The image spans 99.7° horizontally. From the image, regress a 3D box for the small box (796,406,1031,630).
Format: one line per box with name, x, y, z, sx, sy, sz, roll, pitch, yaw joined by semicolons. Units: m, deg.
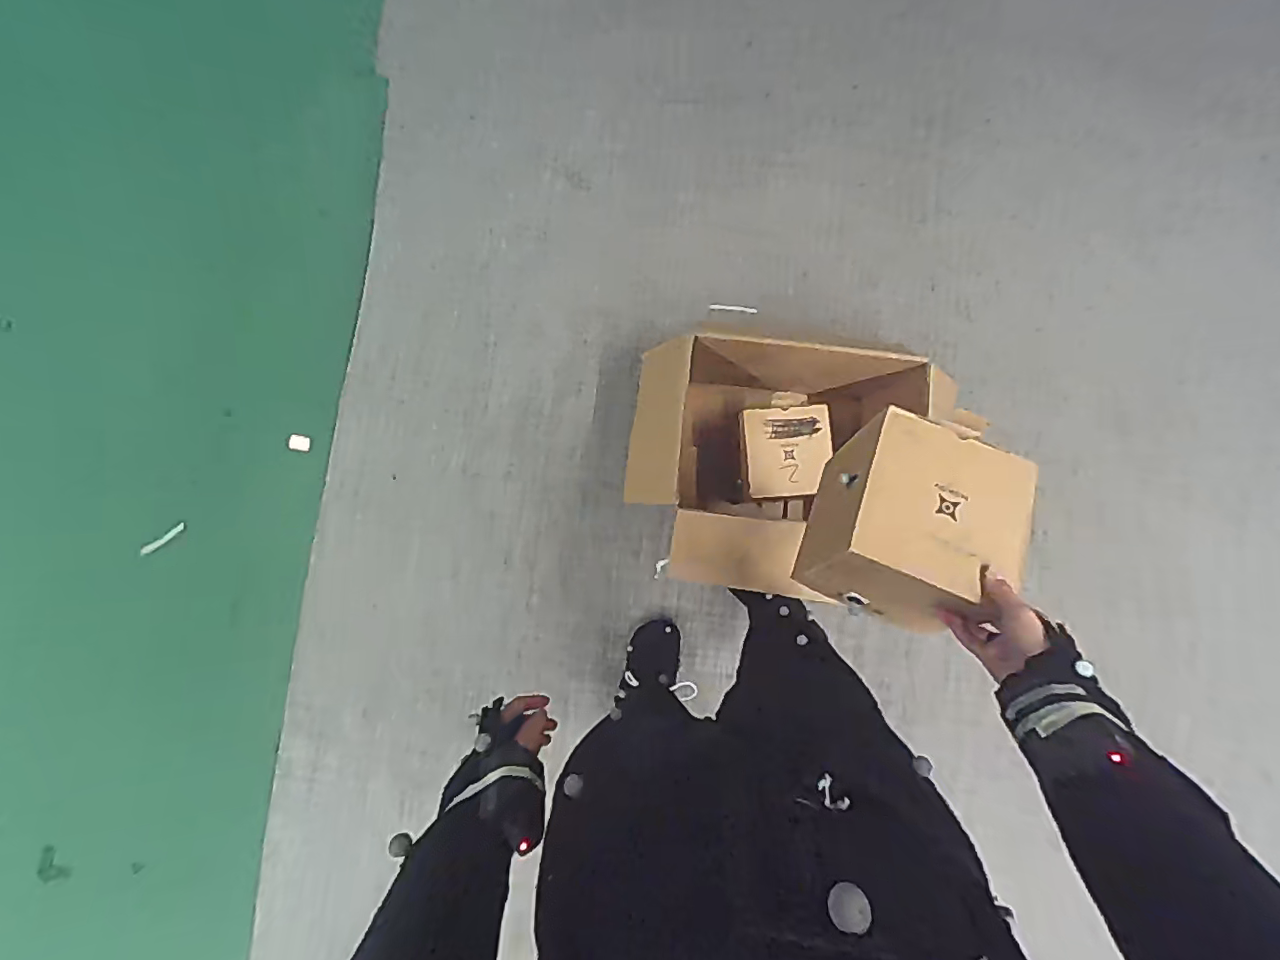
small box;0.297;0.052;0.614;0.168;0.176;0.179;22;69;4
